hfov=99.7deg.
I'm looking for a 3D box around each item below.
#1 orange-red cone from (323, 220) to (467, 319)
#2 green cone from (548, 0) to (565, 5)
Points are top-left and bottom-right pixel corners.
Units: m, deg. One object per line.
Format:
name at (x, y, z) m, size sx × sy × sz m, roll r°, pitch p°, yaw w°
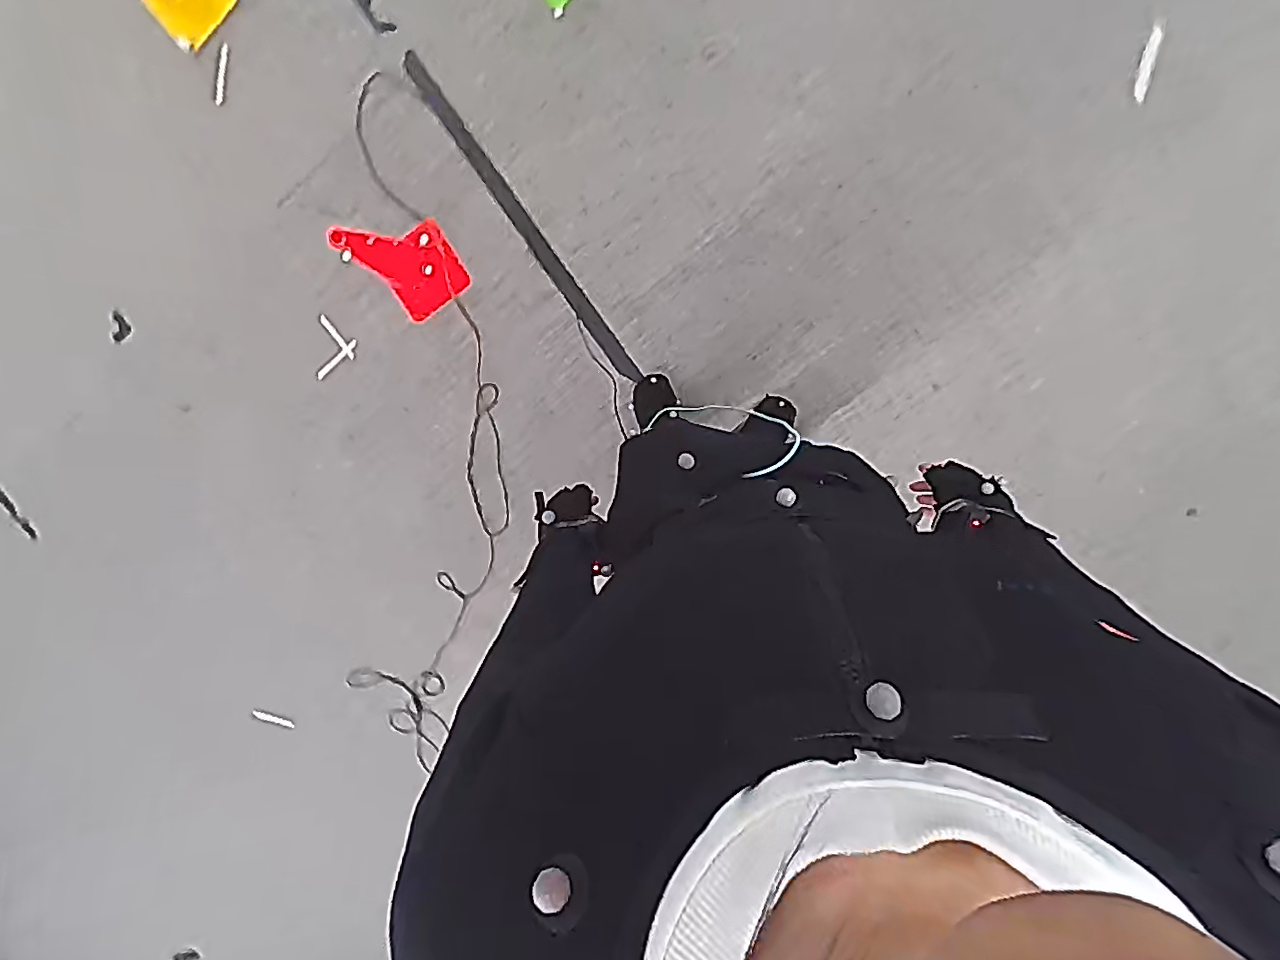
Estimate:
orange-red cone at (-0.594, -0.520, 1.250) m, size 0.199 × 0.360 × 0.198 m, roll -30°, pitch 95°, yaw 12°
green cone at (-0.193, -1.206, 1.073) m, size 0.202 × 0.368 × 0.200 m, roll -35°, pitch 95°, yaw 10°
